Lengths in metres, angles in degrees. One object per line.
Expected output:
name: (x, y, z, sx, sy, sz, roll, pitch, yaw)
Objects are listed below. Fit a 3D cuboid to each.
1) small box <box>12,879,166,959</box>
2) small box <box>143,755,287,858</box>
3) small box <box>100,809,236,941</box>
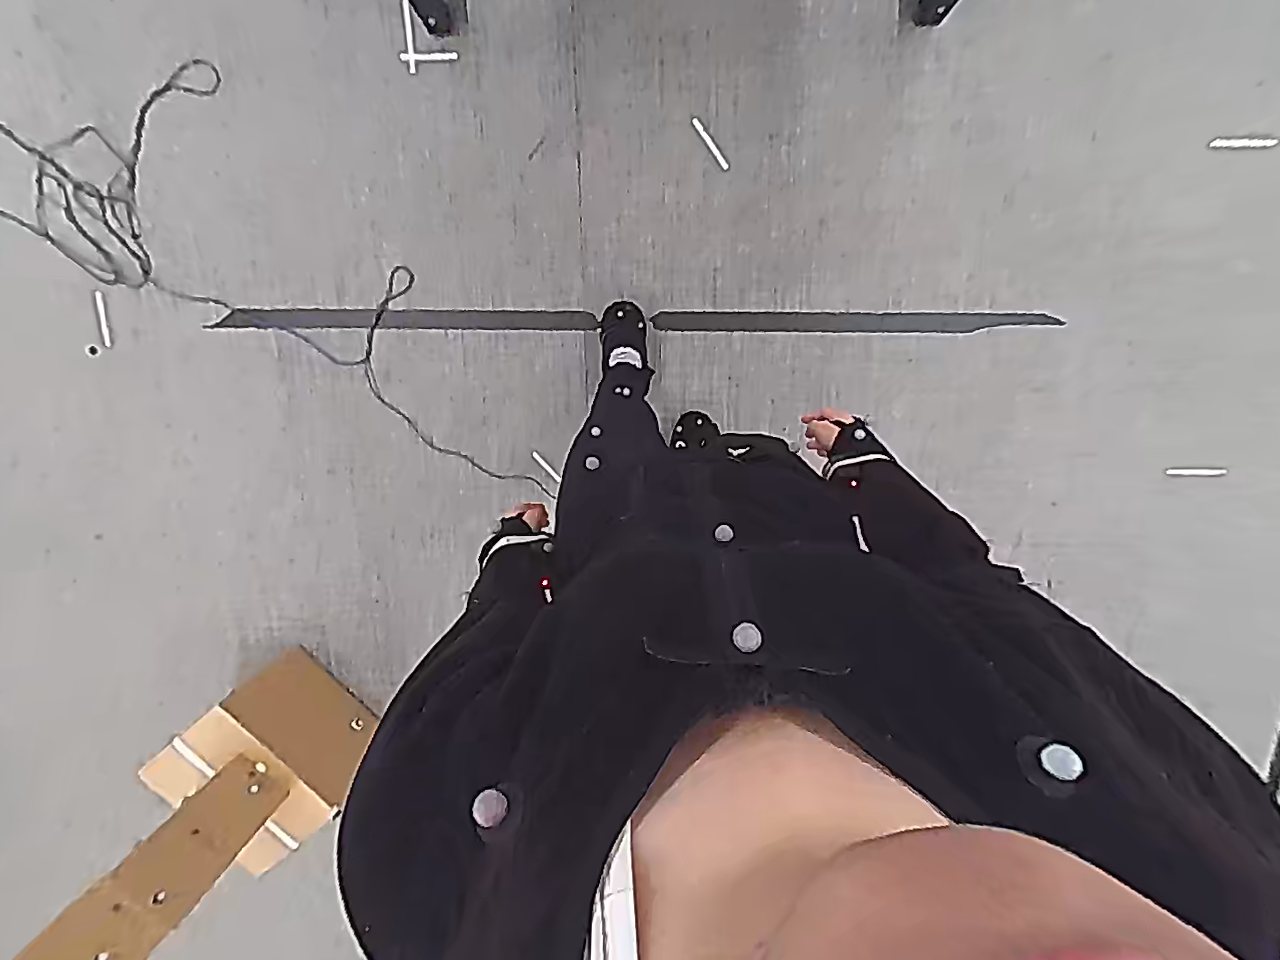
small box: (-0.998, 0.860, 0.949, 0.179, 0.176, 0.168, -41, 98, 9)
small box: (-0.987, 0.797, 1.270, 0.179, 0.176, 0.168, -41, 98, 8)
small box: (-0.994, 0.832, 1.110, 0.179, 0.176, 0.168, -41, 98, 9)
